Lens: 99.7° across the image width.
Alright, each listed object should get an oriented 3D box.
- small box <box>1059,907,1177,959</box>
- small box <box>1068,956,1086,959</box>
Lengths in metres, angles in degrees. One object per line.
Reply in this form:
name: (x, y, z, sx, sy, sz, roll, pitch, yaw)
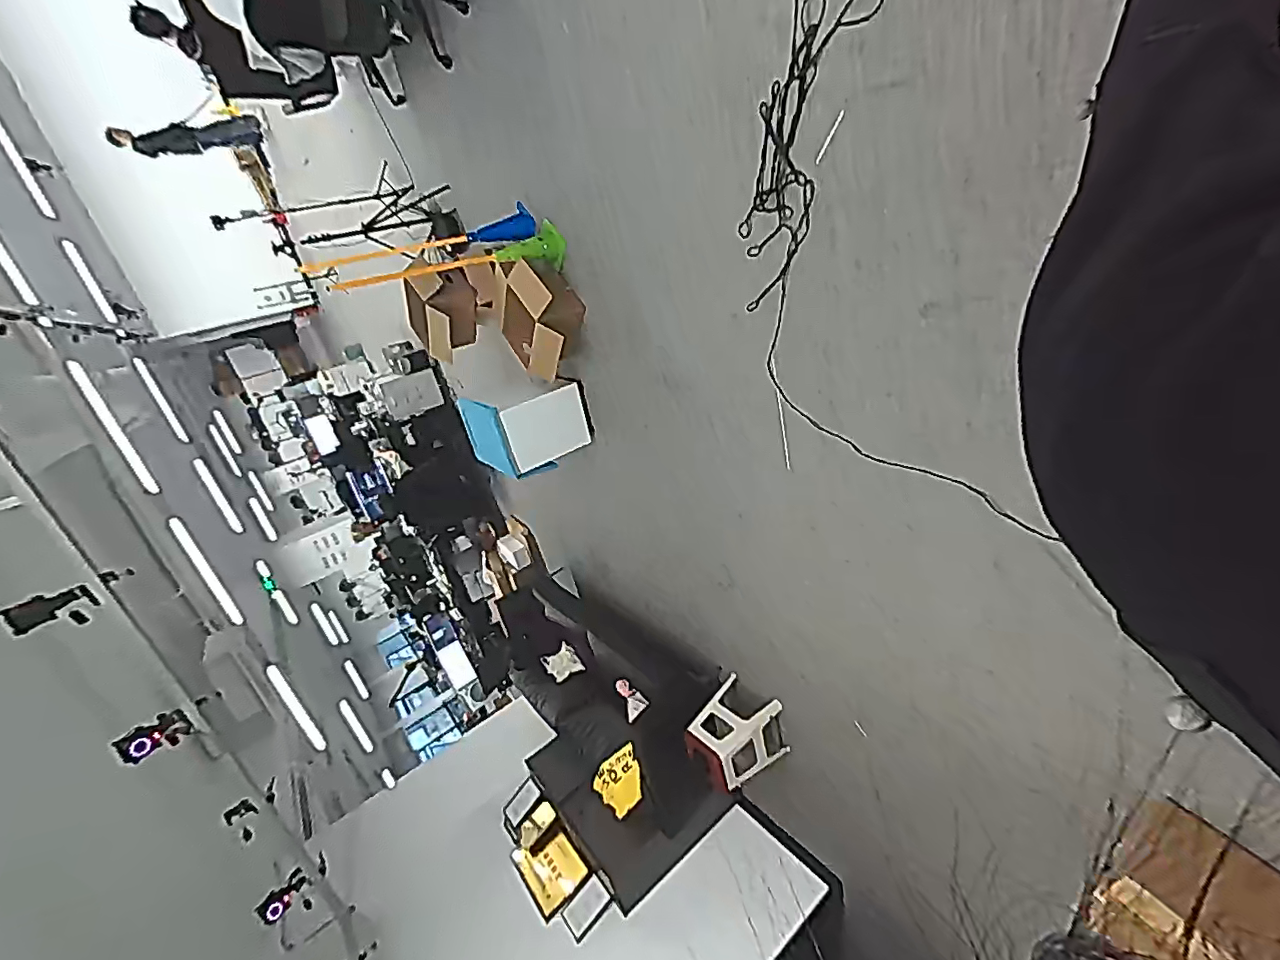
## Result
small box: (1.243, 1.266, 1.404, 0.168, 0.176, 0.179, 37, 143, 38)
small box: (1.111, 1.329, 1.333, 0.179, 0.176, 0.168, 38, 144, 37)
